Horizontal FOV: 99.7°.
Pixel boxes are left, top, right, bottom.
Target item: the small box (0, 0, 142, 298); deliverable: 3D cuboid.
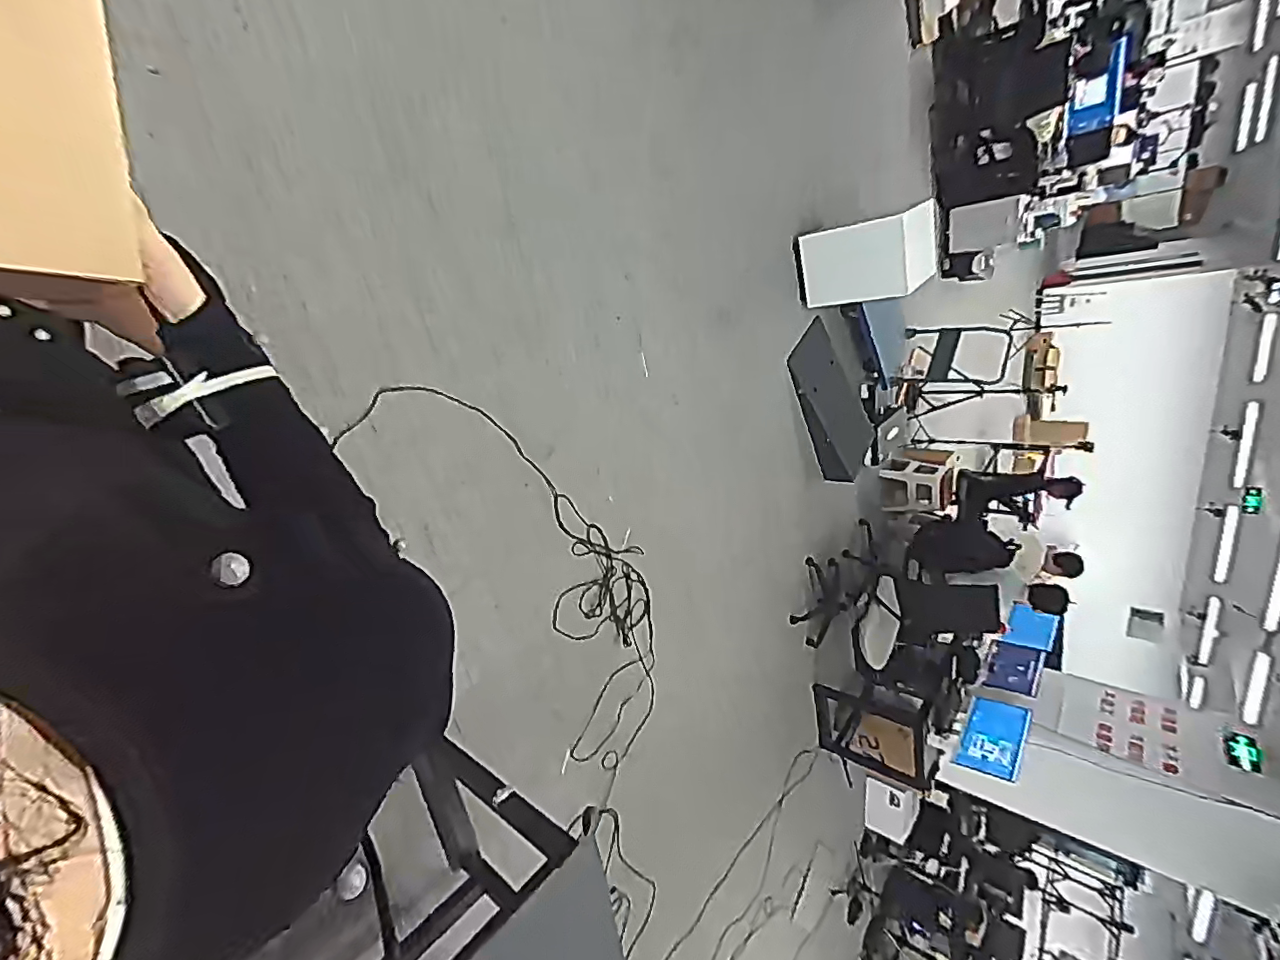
[{"bbox_3d":[-0.407,-0.193,0.283,0.179,0.176,0.168,-13,108,-51],"label":"small box"}]
